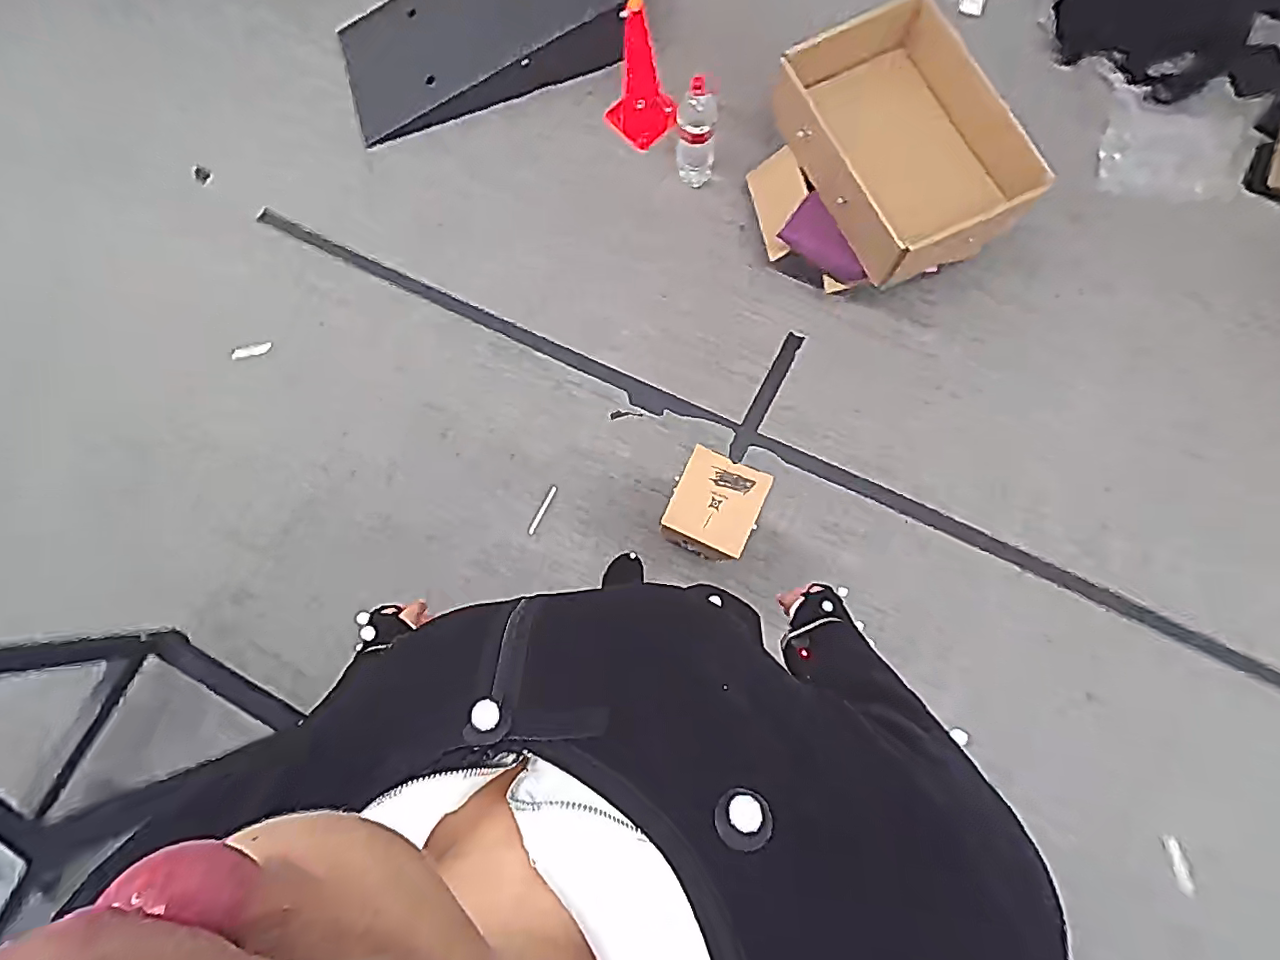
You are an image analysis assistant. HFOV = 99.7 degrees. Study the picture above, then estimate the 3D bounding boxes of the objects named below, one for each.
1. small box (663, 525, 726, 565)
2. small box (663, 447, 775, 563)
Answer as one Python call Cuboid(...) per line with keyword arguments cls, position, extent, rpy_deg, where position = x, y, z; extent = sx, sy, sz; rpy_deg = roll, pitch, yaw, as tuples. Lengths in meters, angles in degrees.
Cuboid(cls="small box", position=(0.160, 0.087, 1.278), extent=(0.168, 0.176, 0.179), rpy_deg=(25, 81, 8))
Cuboid(cls="small box", position=(0.155, 0.059, 1.115), extent=(0.168, 0.176, 0.179), rpy_deg=(25, 83, 8))
